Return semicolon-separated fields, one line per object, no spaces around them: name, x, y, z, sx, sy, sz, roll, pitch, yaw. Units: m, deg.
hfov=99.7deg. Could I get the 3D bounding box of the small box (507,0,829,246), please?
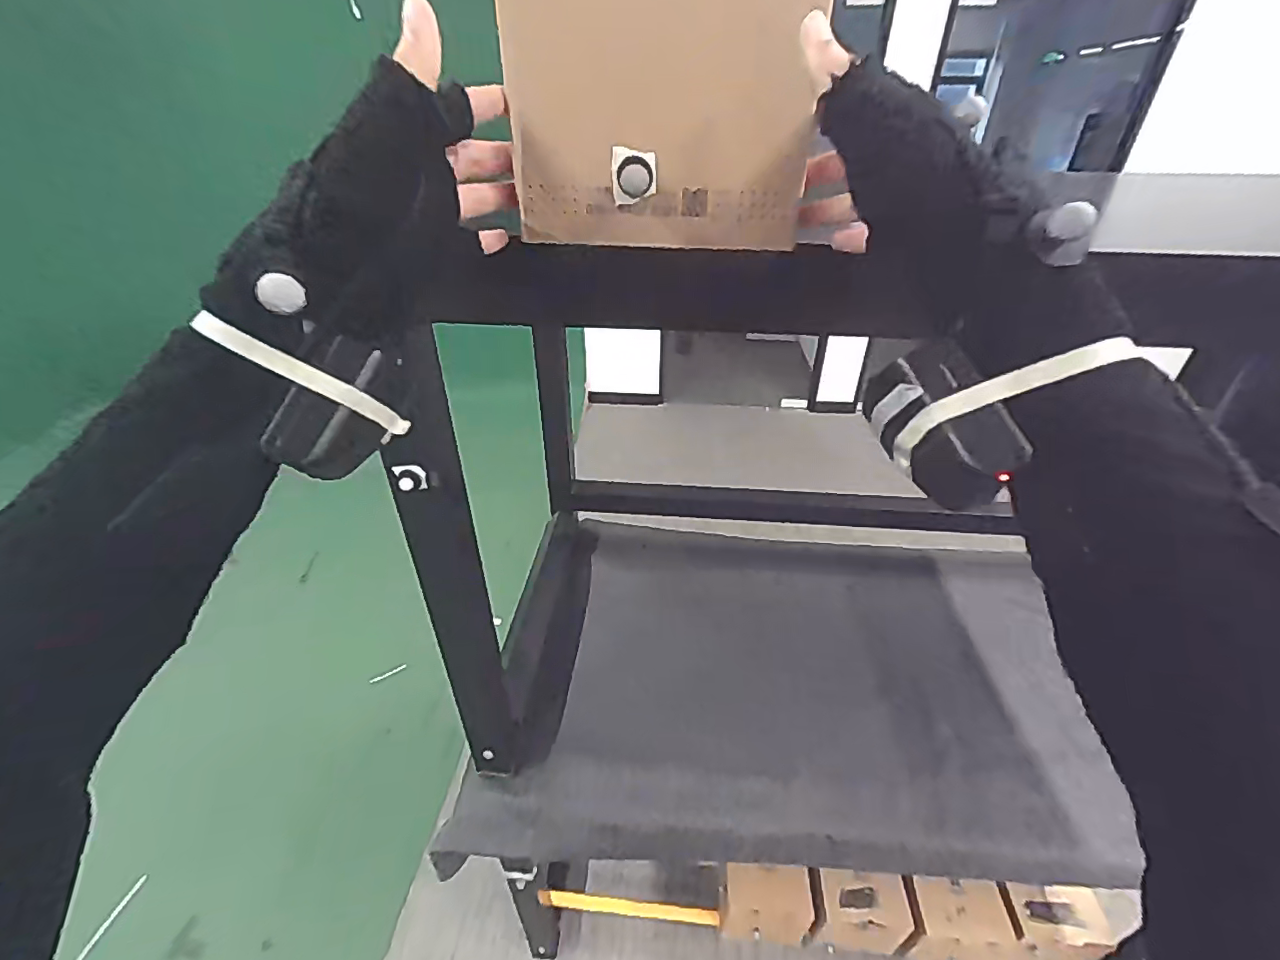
small box;0.016;-0.260;0.349;0.168;0.176;0.179;2;35;3
